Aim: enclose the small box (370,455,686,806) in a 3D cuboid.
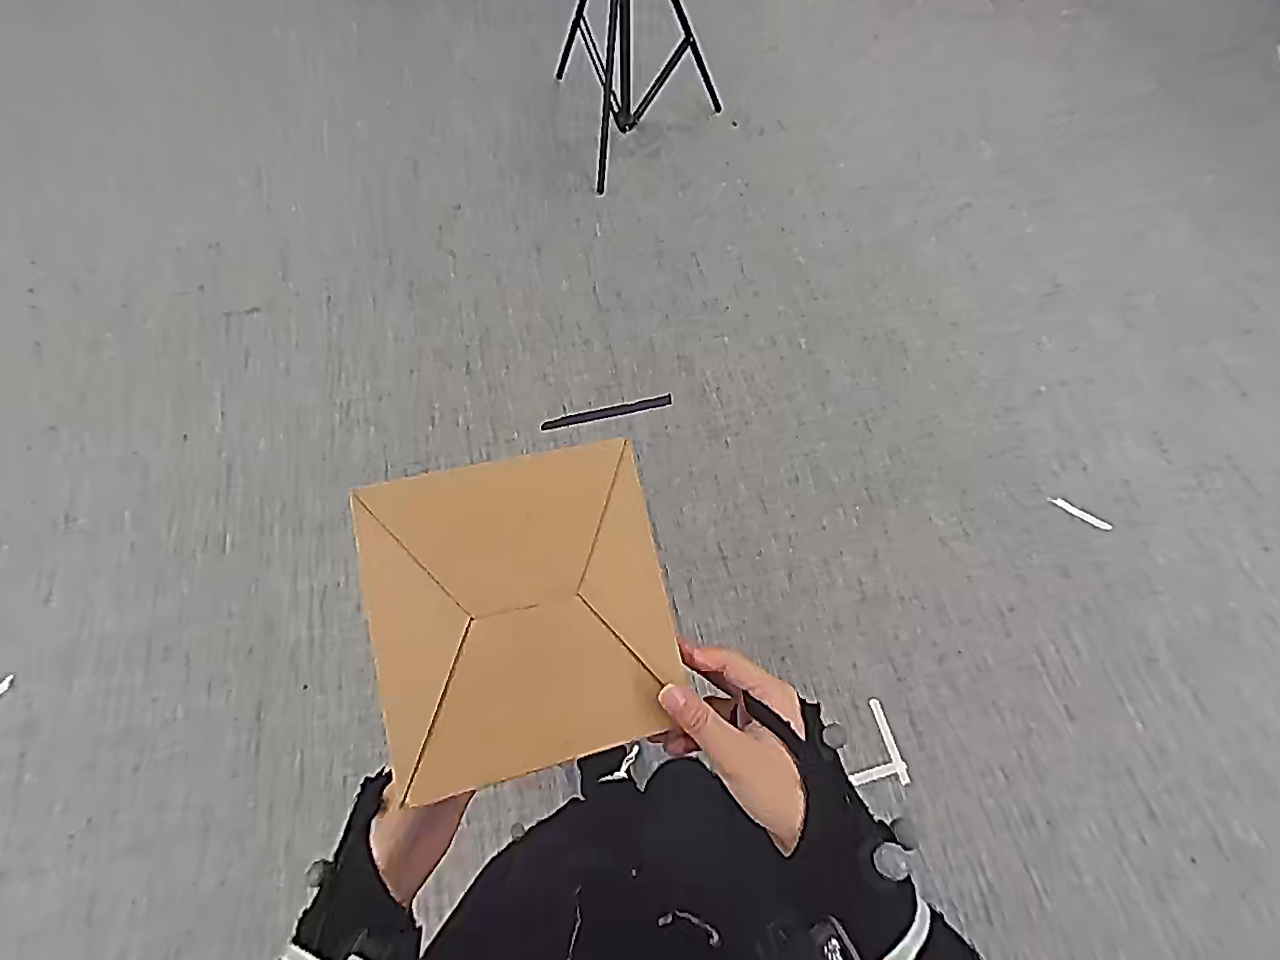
[{"bbox_3d":[-0.078,0.091,0.389,0.168,0.176,0.179,-11,81,-13],"label":"small box"}]
